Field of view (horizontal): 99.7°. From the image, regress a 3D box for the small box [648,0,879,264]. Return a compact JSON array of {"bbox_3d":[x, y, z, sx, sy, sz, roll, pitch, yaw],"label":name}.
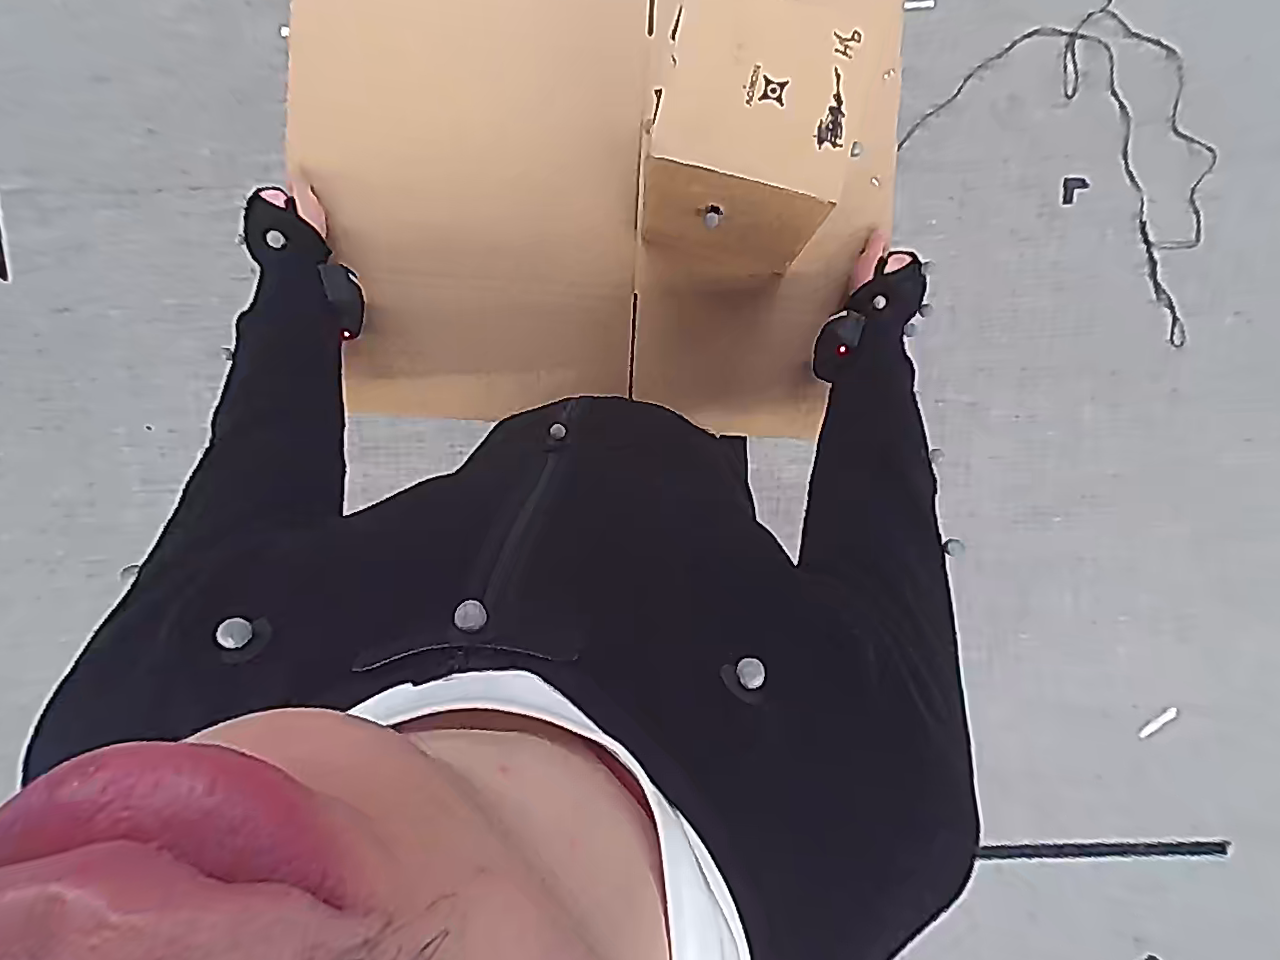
[{"bbox_3d":[0.109,-0.346,0.558,0.179,0.176,0.168,13,91,0],"label":"small box"}]
